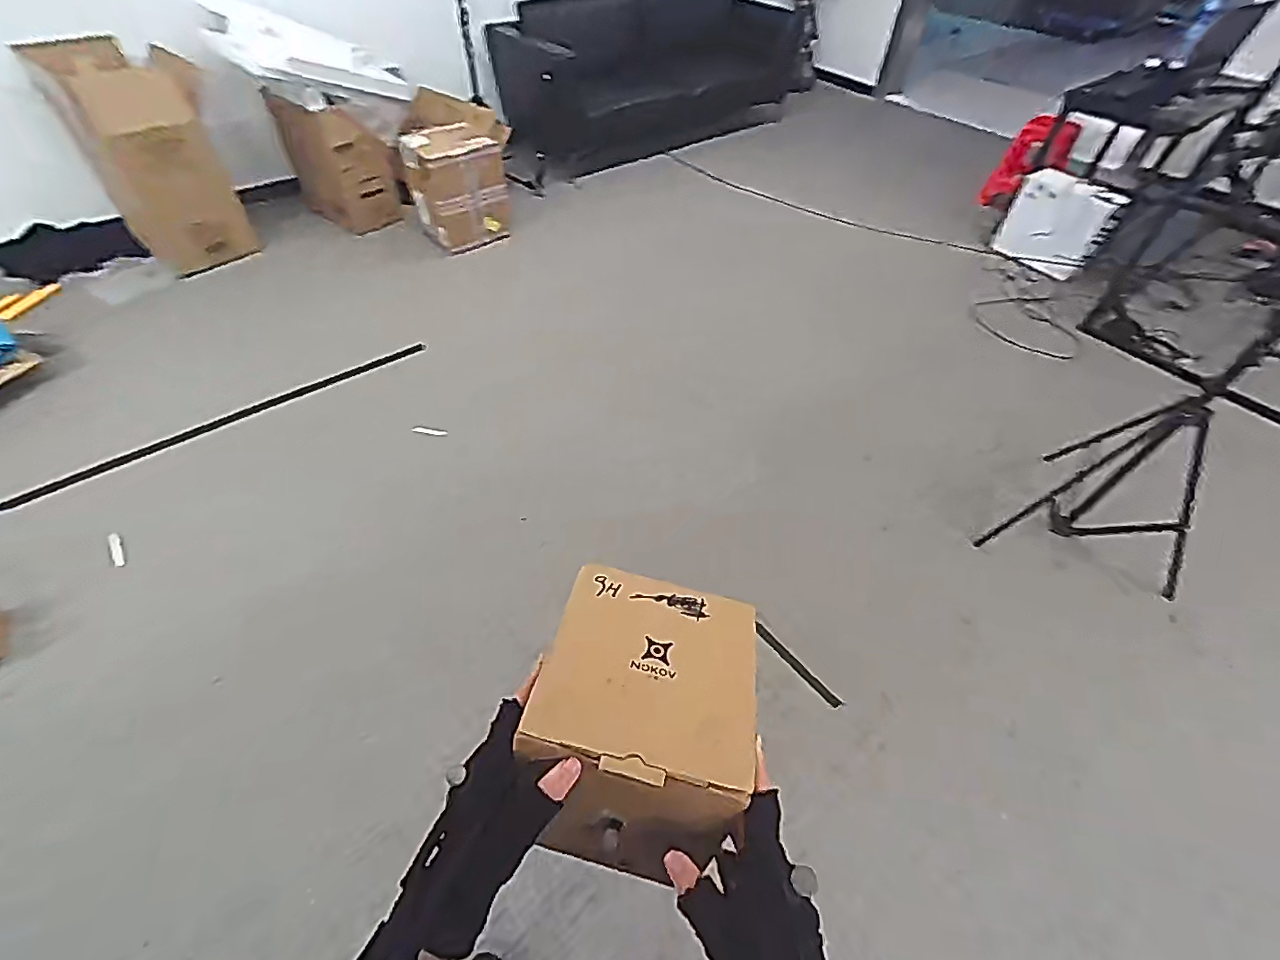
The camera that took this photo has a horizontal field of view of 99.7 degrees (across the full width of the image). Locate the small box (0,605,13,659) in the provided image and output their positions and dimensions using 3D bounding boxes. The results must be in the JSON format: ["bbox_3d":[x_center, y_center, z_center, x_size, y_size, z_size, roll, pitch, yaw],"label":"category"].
[{"bbox_3d":[-1.851,0.411,1.445,0.168,0.176,0.179,-31,59,-24],"label":"small box"}]

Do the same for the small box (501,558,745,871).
[{"bbox_3d":[-0.013,0.203,0.475,0.168,0.176,0.179,15,36,2],"label":"small box"}]
